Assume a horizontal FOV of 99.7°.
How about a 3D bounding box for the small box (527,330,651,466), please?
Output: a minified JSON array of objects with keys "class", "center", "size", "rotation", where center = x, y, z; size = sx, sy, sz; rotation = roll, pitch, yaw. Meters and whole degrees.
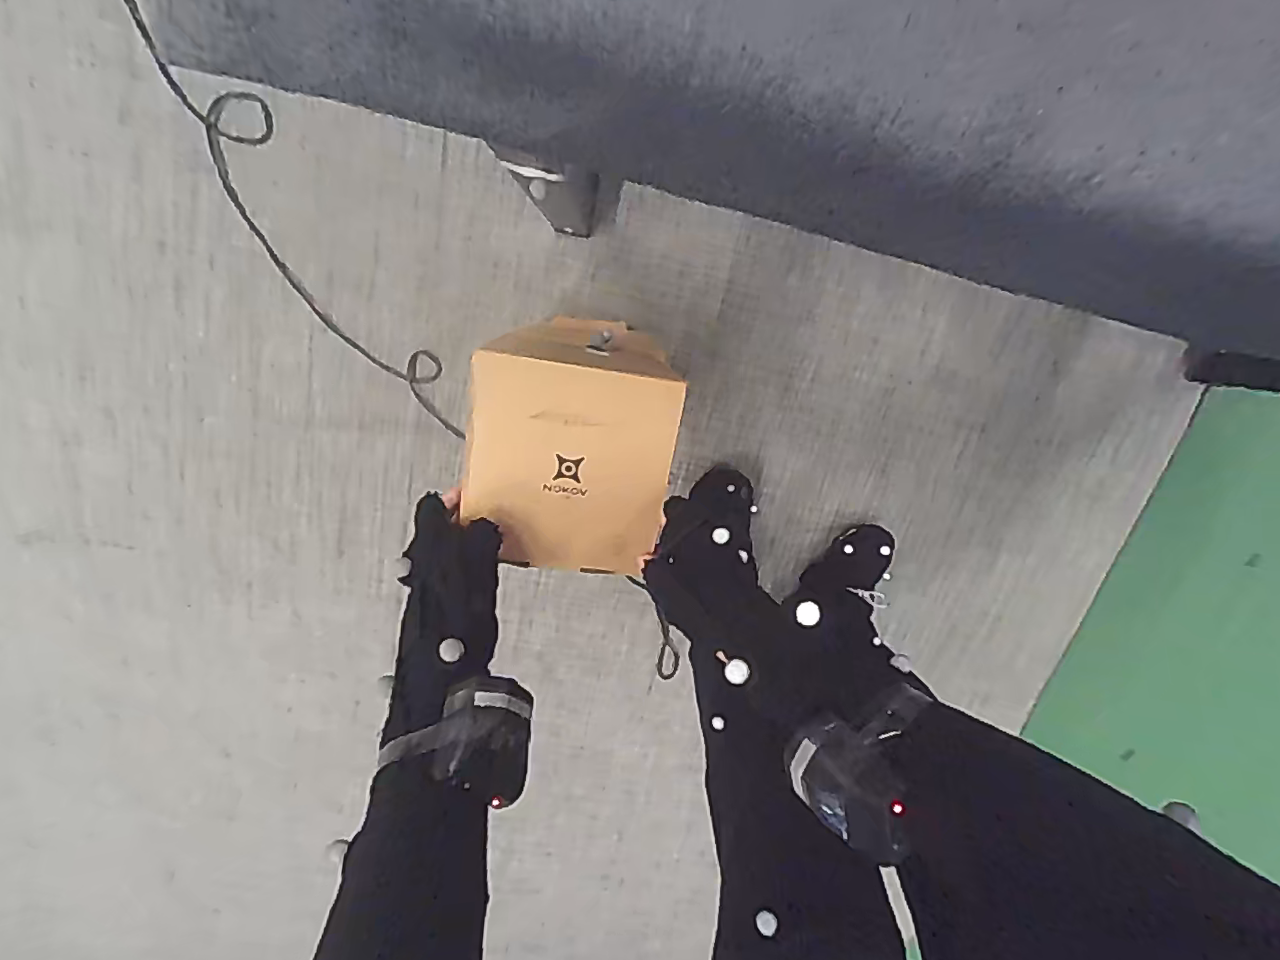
[{"class":"small box","center":[-0.078,-0.133,0.828],"size":[0.168,0.176,0.179],"rotation":[4,108,-4]}]
